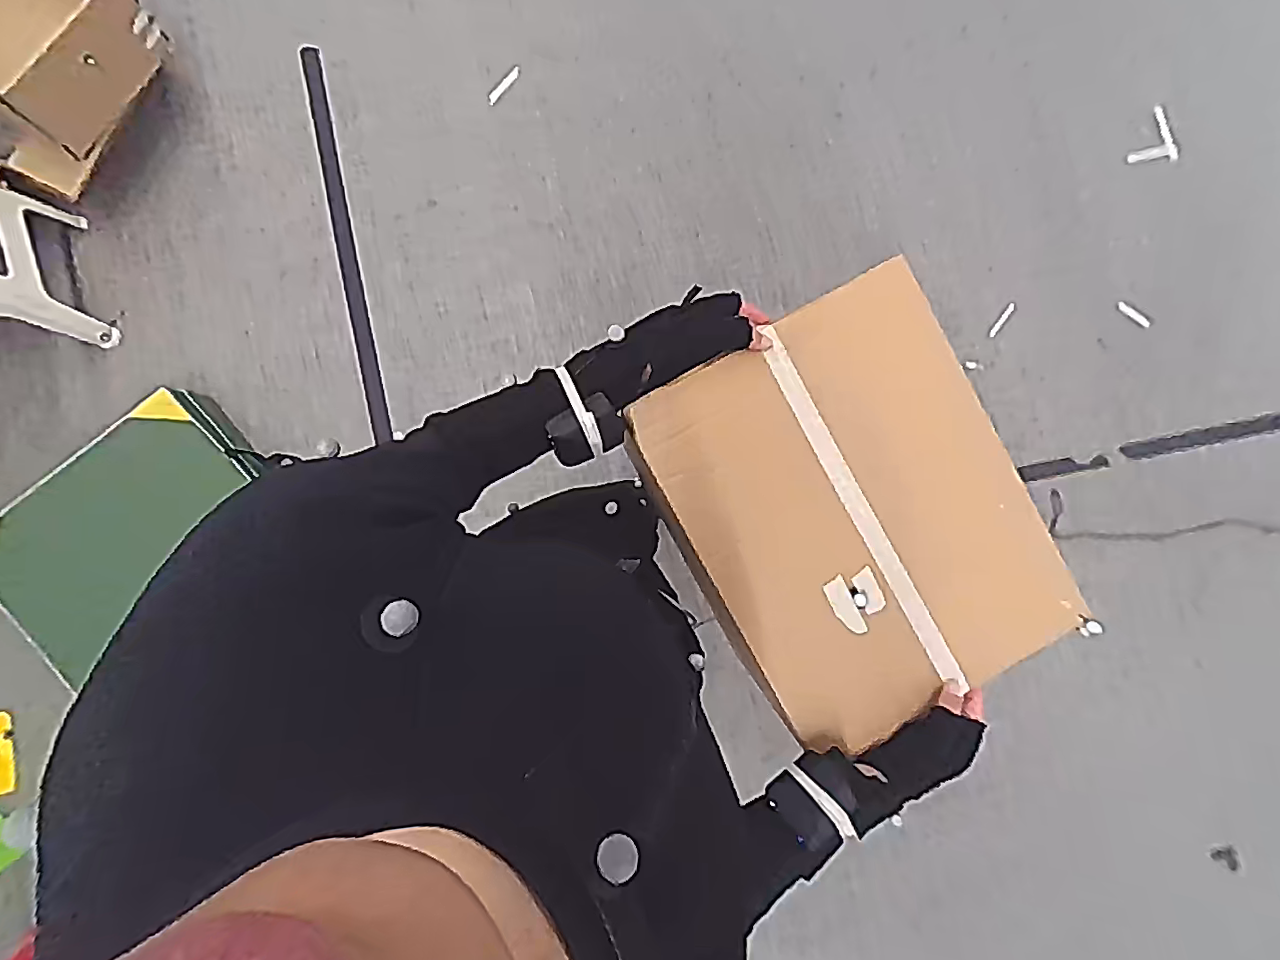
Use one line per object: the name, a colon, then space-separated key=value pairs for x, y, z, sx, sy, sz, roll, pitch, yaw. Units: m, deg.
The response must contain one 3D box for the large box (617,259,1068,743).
large box: x=0.202 y=0.018 z=0.687 sx=0.320 sy=0.320 sz=0.408 roll=-30 pitch=93 yaw=-2
